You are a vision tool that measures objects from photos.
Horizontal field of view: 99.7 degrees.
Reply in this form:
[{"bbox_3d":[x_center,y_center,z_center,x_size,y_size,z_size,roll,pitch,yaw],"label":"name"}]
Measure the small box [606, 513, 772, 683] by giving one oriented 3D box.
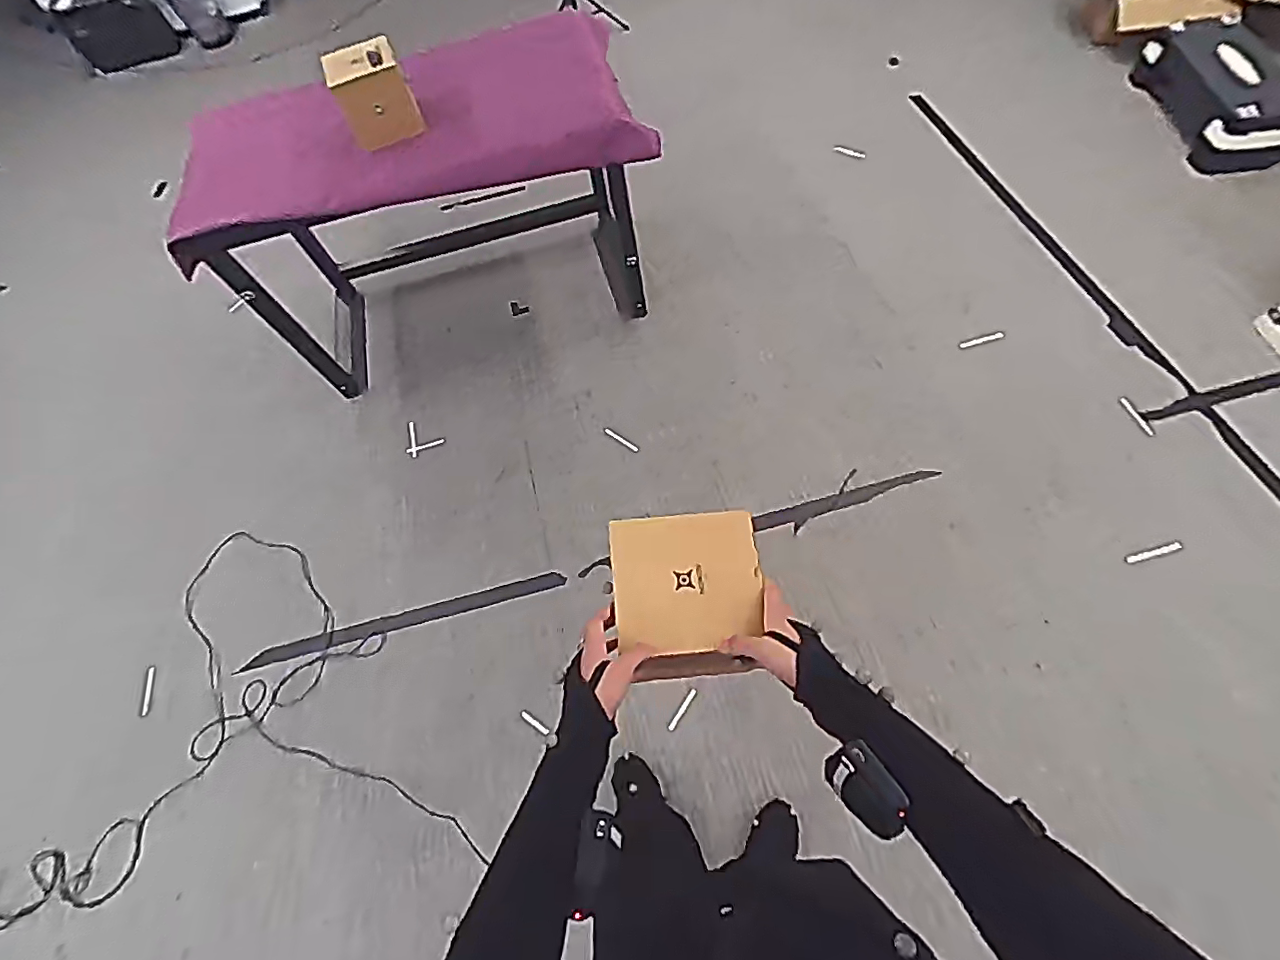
[{"bbox_3d":[0.051,0.156,0.691,0.179,0.176,0.168,-4,61,-4],"label":"small box"}]
